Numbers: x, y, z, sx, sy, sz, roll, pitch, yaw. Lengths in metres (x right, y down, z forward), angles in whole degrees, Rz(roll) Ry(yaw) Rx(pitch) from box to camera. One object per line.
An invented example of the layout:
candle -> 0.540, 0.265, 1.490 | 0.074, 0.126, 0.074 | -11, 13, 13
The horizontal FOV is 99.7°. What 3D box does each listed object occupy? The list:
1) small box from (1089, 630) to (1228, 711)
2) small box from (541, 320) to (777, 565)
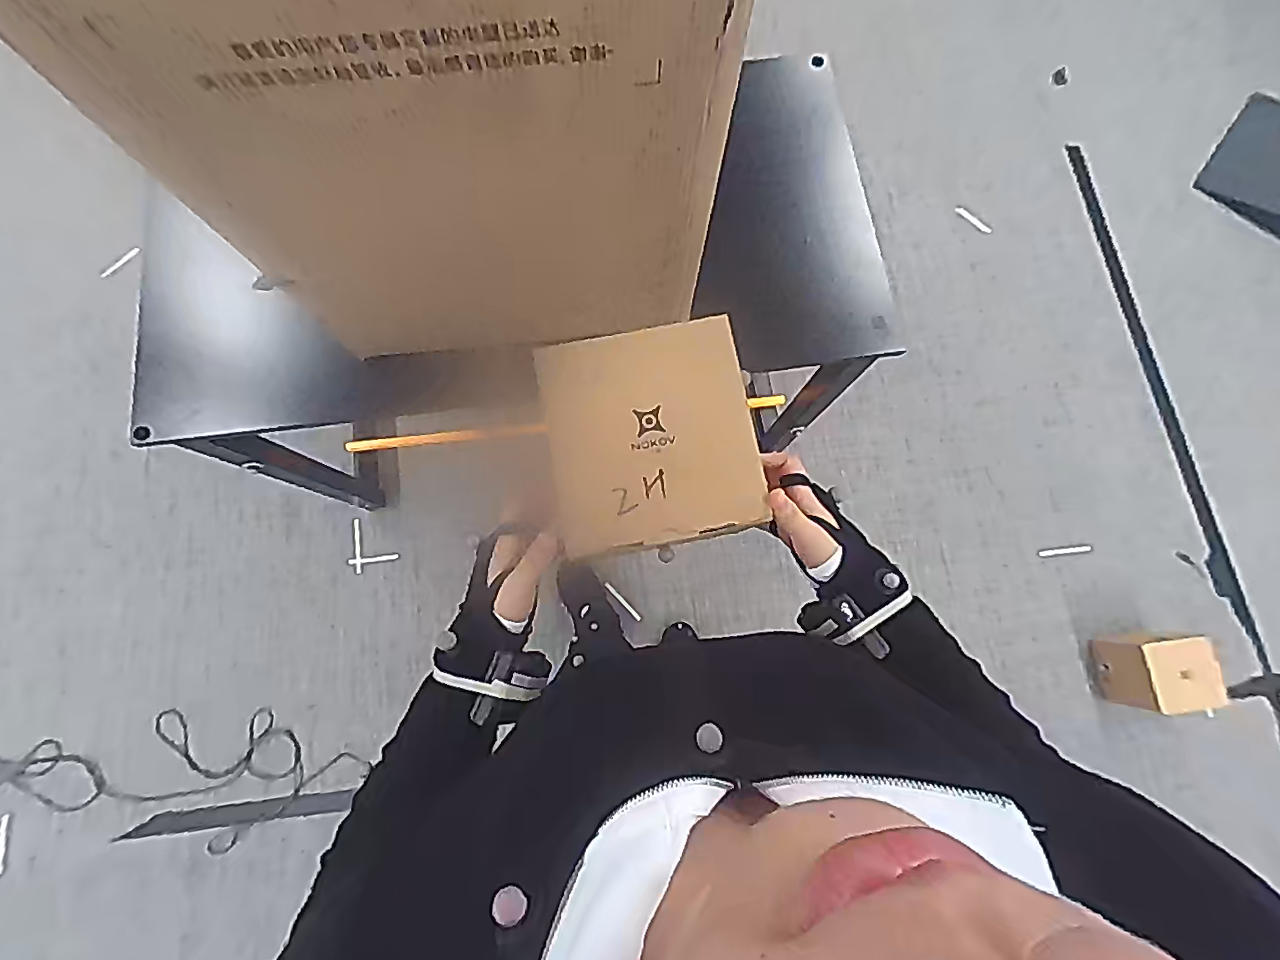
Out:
small box -> 1.332, 0.487, 1.402 | 0.179, 0.176, 0.168 | -7, 77, -1
small box -> 0.012, -0.022, 0.512 | 0.168, 0.176, 0.179 | -11, 79, -1
